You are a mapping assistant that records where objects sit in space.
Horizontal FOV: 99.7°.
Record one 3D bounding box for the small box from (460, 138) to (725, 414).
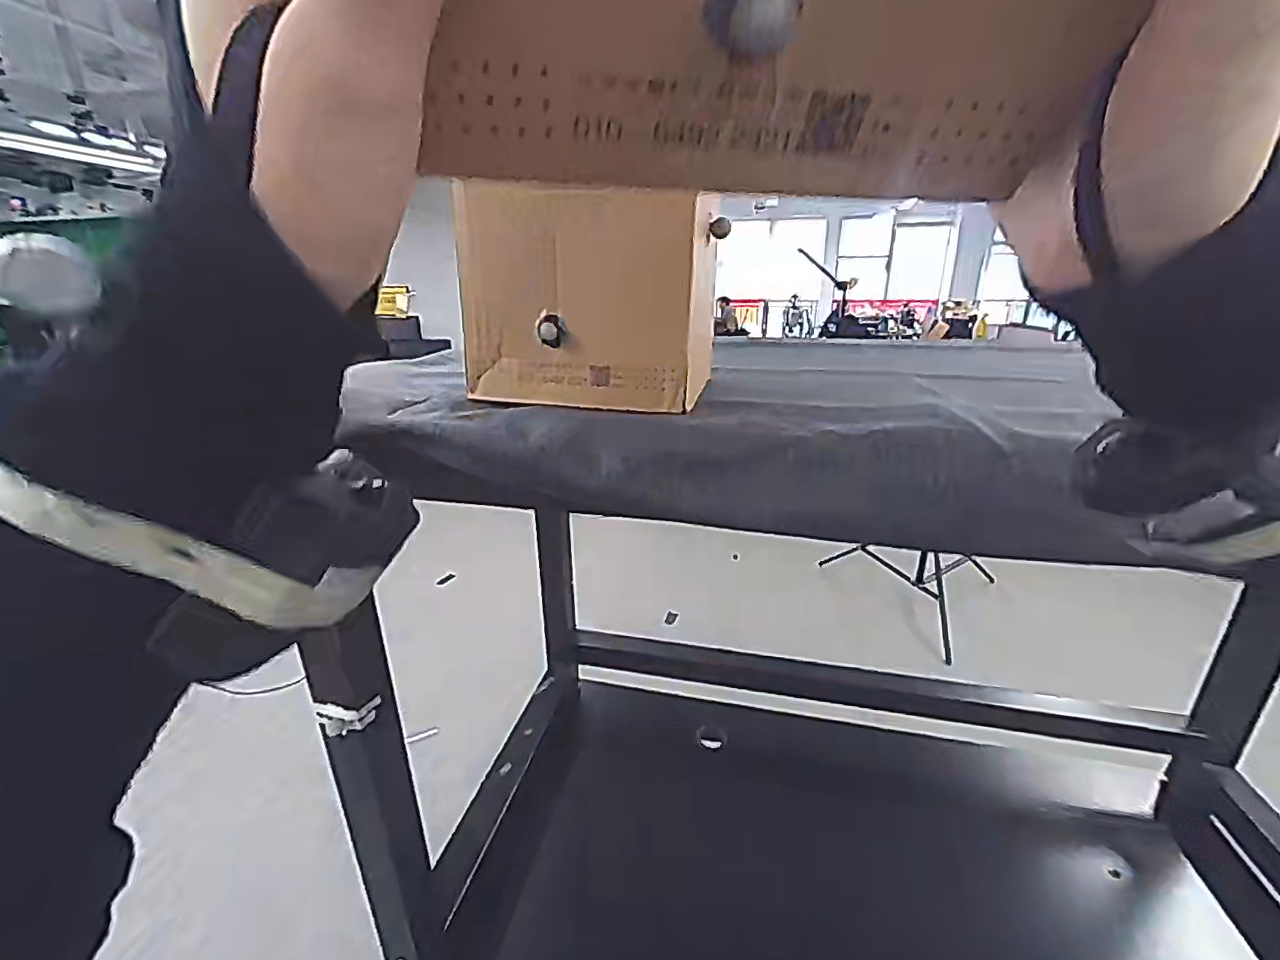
[{"bbox_3d":[-0.025,-0.157,0.438,0.168,0.176,0.179,5,20,11],"label":"small box"}]
